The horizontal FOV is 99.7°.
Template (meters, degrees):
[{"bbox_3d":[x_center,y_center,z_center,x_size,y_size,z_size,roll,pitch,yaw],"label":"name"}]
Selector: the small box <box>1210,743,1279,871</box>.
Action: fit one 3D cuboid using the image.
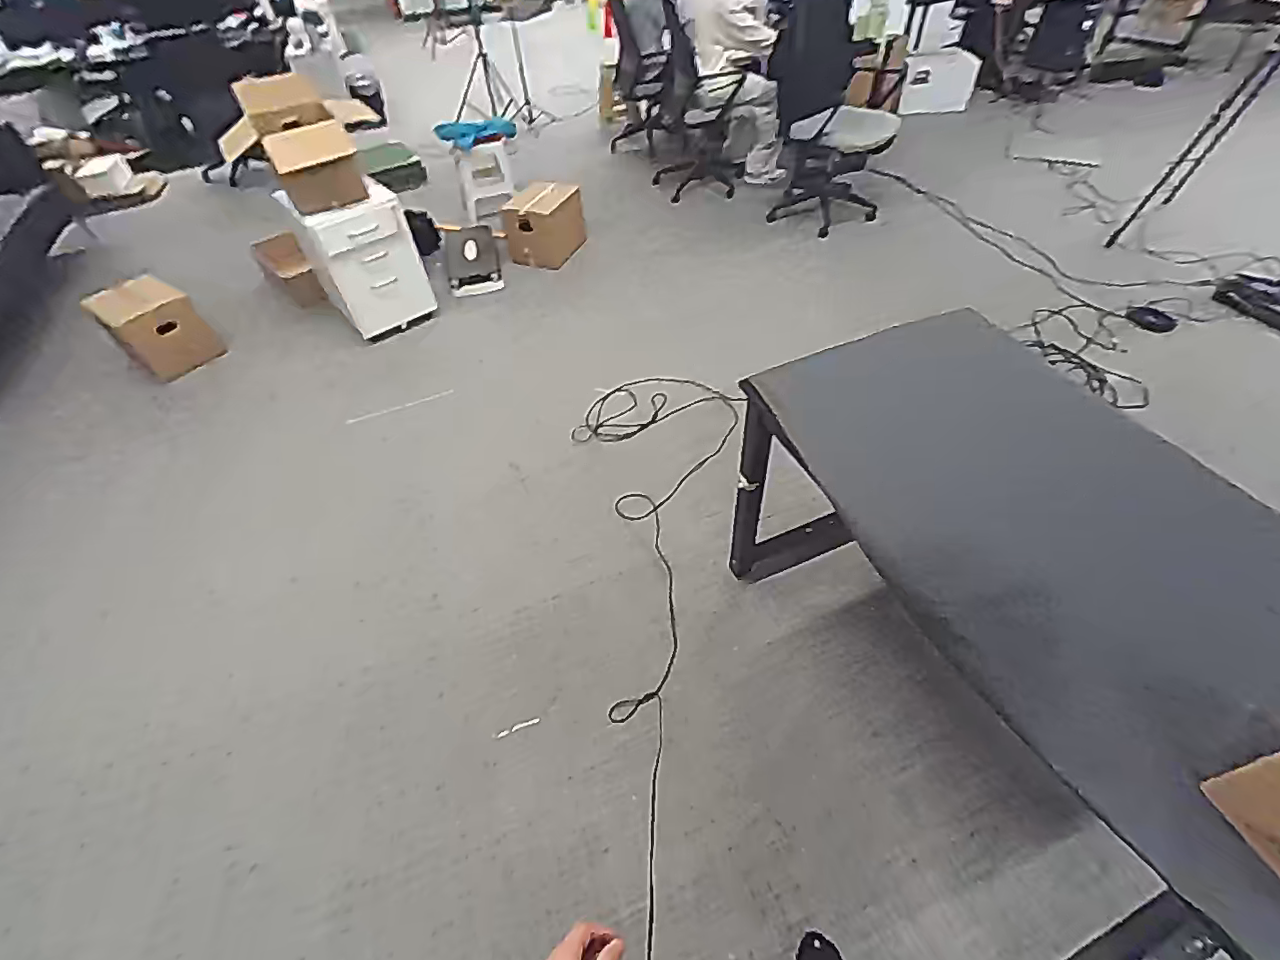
[{"bbox_3d":[0.751,0.331,0.532,0.179,0.176,0.168,-14,47,-9],"label":"small box"}]
